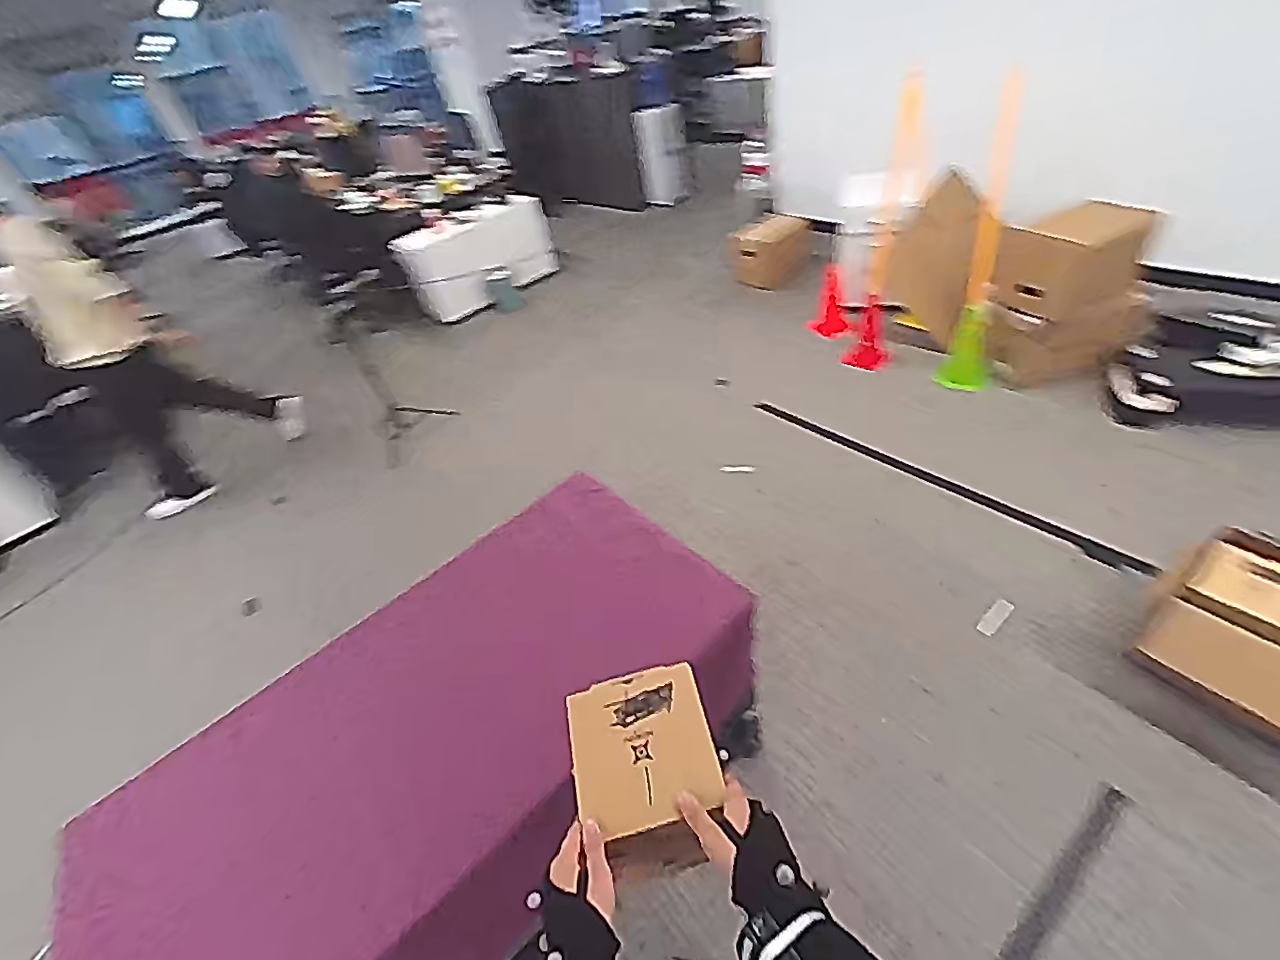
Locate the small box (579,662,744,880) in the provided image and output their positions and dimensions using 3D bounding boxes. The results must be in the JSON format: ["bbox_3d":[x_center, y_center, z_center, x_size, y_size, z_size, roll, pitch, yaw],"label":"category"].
[{"bbox_3d":[0.027,0.370,0.692,0.168,0.176,0.179,-15,39,-1],"label":"small box"}]
